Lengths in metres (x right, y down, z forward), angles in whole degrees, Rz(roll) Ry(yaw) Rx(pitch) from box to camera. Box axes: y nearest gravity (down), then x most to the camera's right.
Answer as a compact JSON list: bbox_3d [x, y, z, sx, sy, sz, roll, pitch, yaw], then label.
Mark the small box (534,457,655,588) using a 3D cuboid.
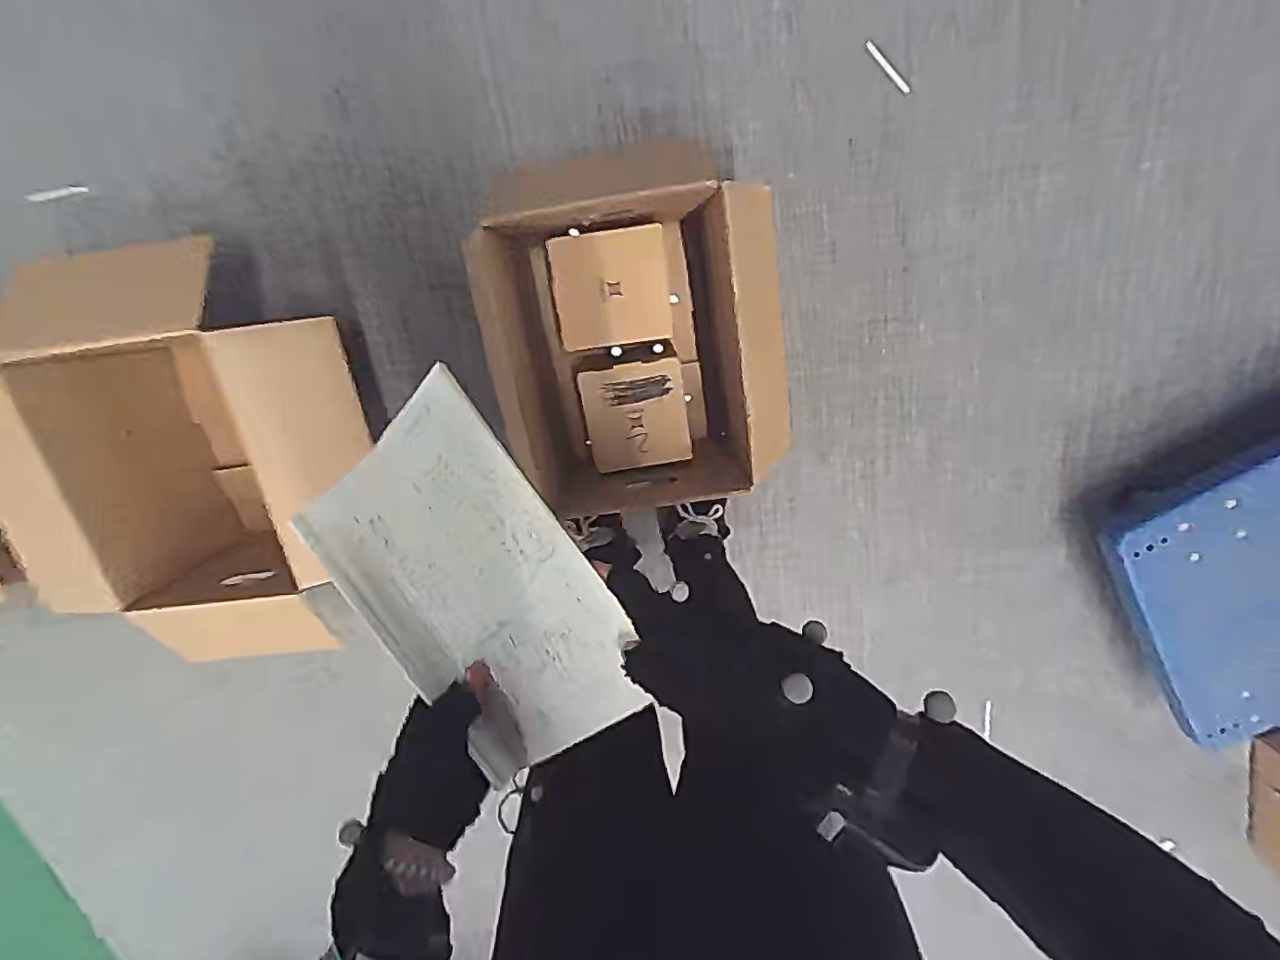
[{"bbox_3d":[-0.094,0.080,1.066,0.179,0.176,0.168,23,119,12],"label":"small box"}]
